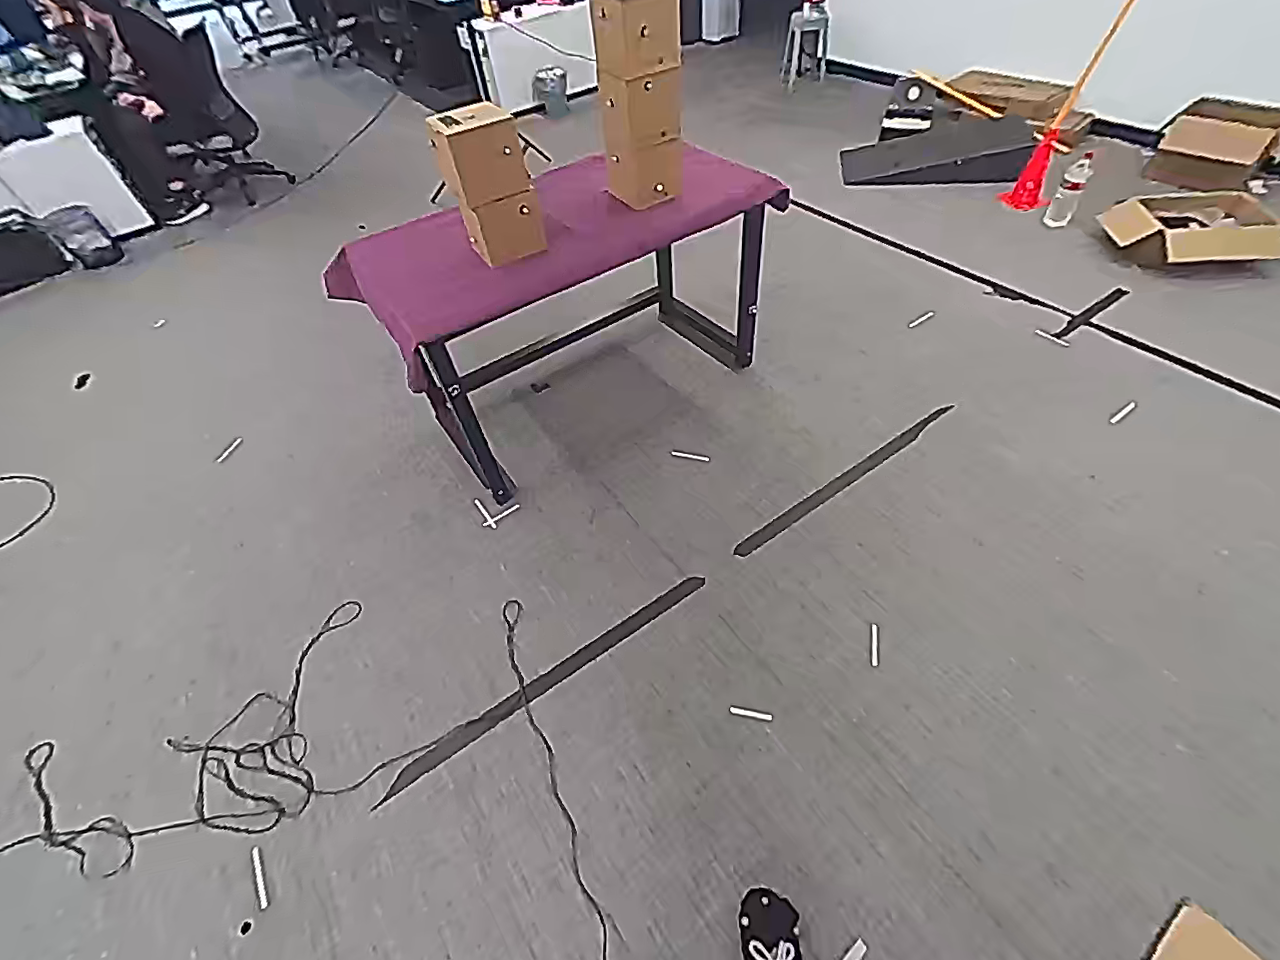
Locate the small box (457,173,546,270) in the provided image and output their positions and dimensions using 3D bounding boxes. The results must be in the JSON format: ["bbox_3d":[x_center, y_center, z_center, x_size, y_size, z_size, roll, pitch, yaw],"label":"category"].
[{"bbox_3d":[-0.375,-0.715,1.498,0.179,0.176,0.168,-28,52,-16],"label":"small box"}]

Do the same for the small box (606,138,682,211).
[{"bbox_3d":[0.014,-0.948,1.647,0.168,0.176,0.179,-29,54,-16],"label":"small box"}]

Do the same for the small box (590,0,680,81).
[{"bbox_3d":[-0.009,-1.149,1.389,0.168,0.176,0.179,-27,52,-15],"label":"small box"}]

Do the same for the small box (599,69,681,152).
[{"bbox_3d":[0.002,-1.049,1.518,0.168,0.176,0.179,-27,52,-15],"label":"small box"}]
